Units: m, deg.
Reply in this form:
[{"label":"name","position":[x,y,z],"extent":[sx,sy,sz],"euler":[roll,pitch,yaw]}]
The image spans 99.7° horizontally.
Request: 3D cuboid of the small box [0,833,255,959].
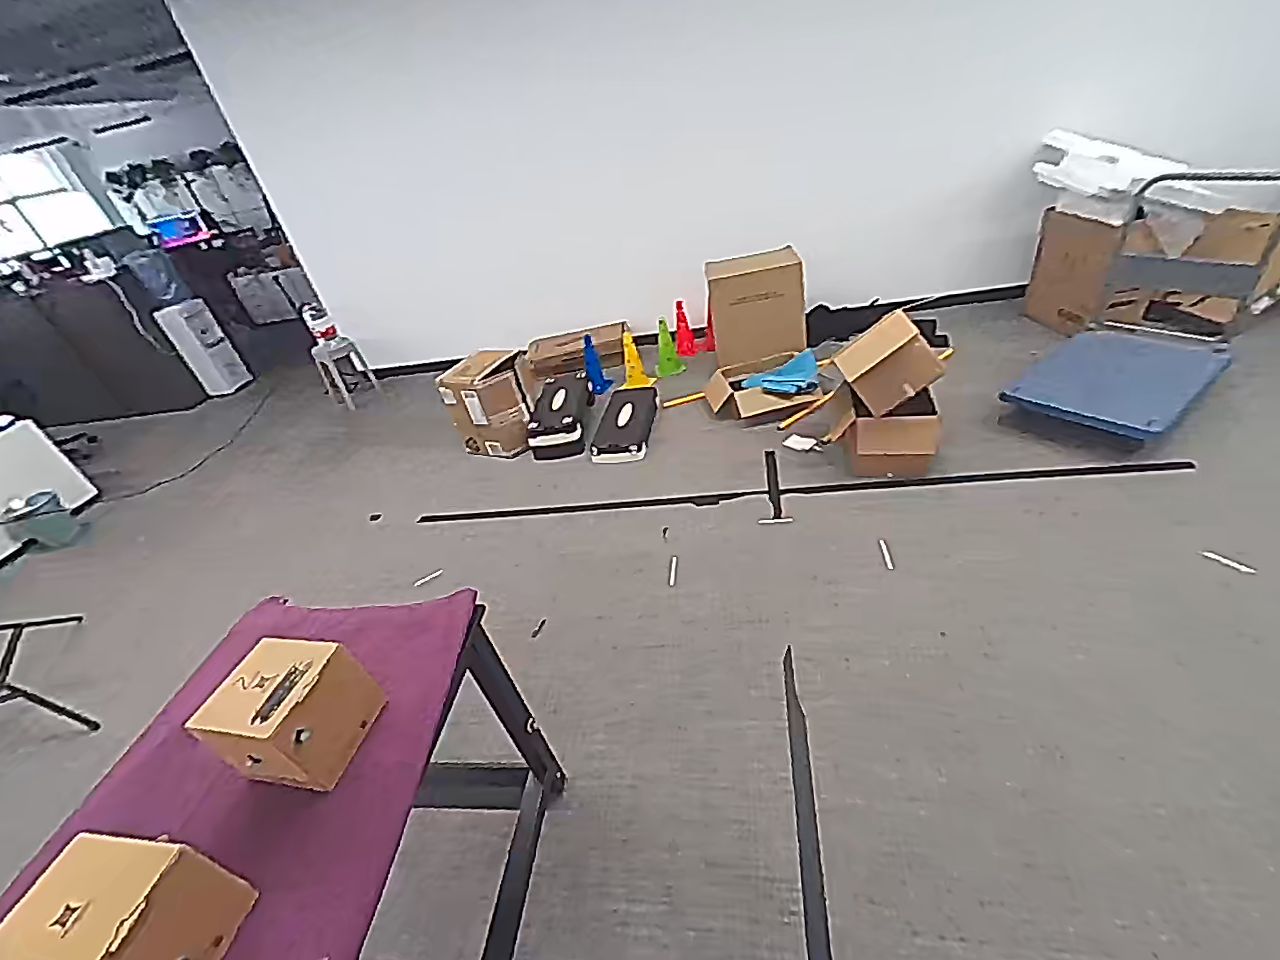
[{"label":"small box","position":[-0.646,0.571,0.673],"extent":[0.179,0.176,0.168],"euler":[-3,36,12]}]
